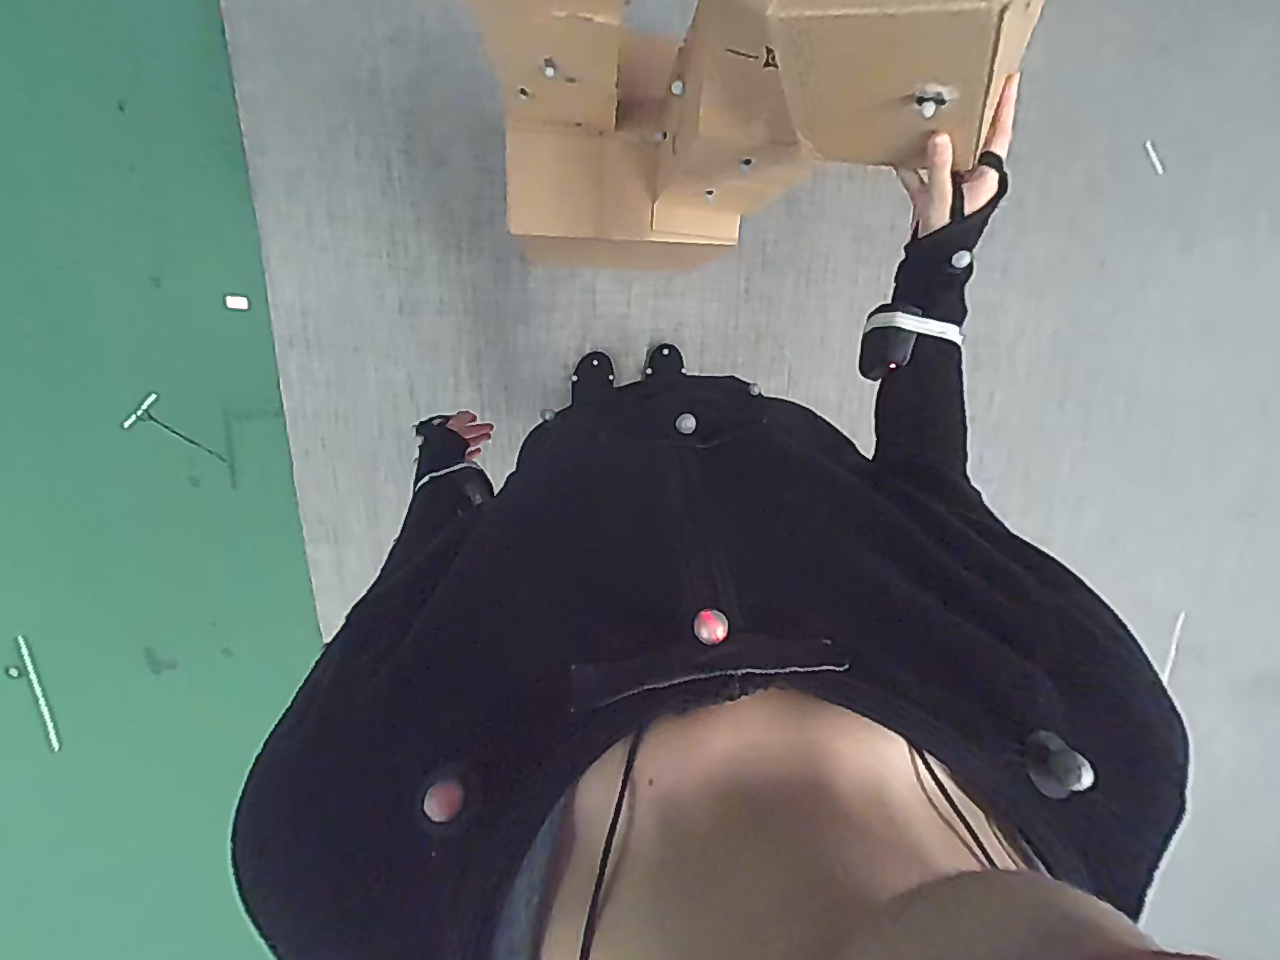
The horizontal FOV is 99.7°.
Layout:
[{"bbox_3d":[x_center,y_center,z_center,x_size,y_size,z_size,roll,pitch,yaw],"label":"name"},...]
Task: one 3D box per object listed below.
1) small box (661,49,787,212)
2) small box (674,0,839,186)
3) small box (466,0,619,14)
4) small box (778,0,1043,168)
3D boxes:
[{"bbox_3d":[0.129,-0.527,0.840,0.179,0.176,0.168,3,106,-5],"label":"small box"},{"bbox_3d":[0.148,-0.487,0.682,0.179,0.176,0.168,3,104,-6],"label":"small box"},{"bbox_3d":[-0.099,-0.556,0.477,0.179,0.176,0.168,0,104,-4],"label":"small box"},{"bbox_3d":[0.225,-0.389,0.440,0.176,0.179,0.168,23,94,24],"label":"small box"}]
